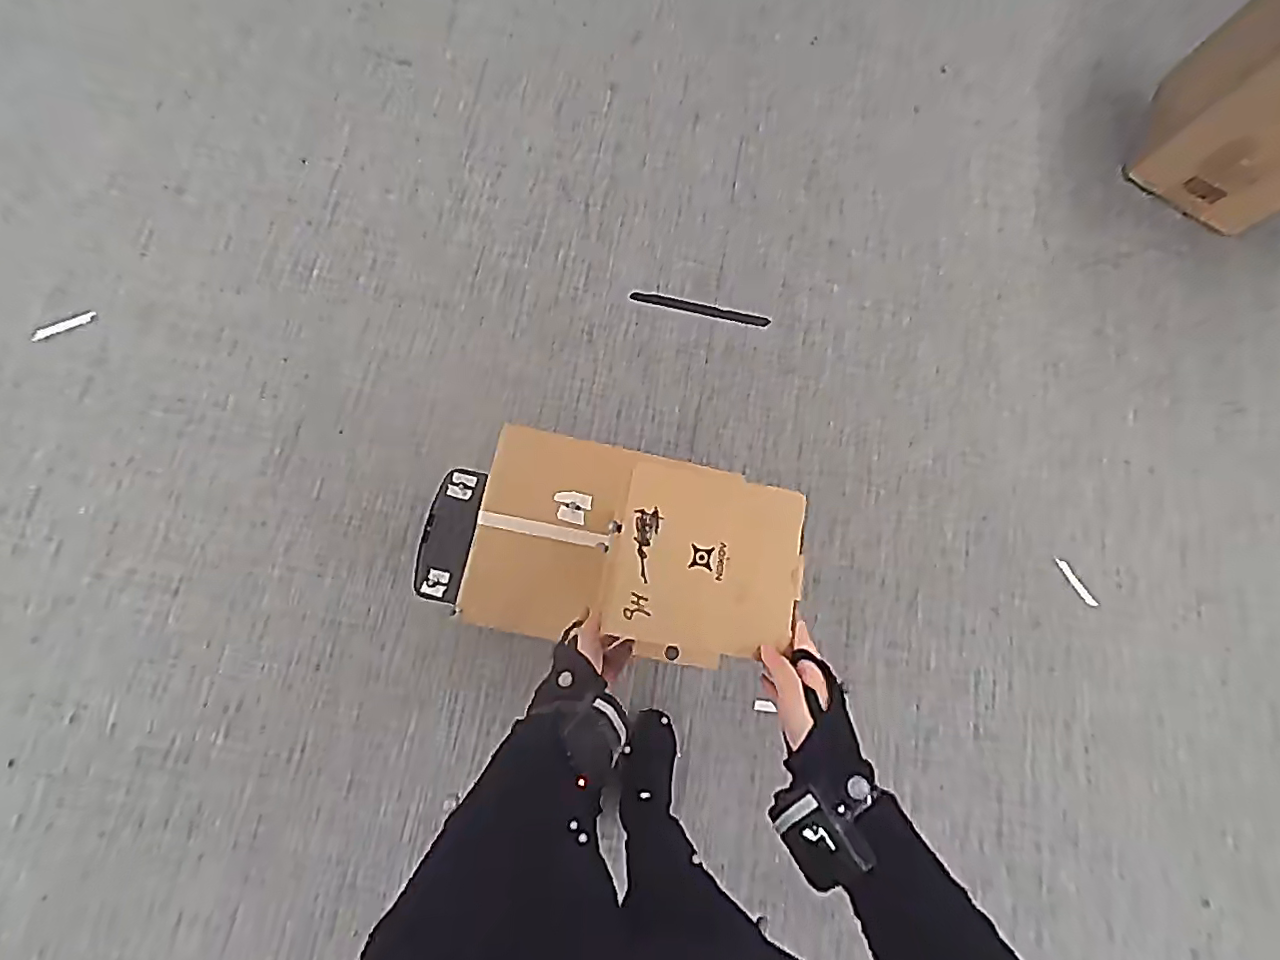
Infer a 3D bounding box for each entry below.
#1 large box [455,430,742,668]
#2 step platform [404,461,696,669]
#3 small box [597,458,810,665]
[{"bbox_3d":[-0.064,0.132,0.976,0.408,0.320,0.320,11,76,-3],"label":"large box"},{"bbox_3d":[-0.146,0.189,1.199,0.684,0.204,0.286,17,76,-2],"label":"step platform"},{"bbox_3d":[0.057,0.091,0.577,0.179,0.176,0.168,12,74,-5],"label":"small box"}]
